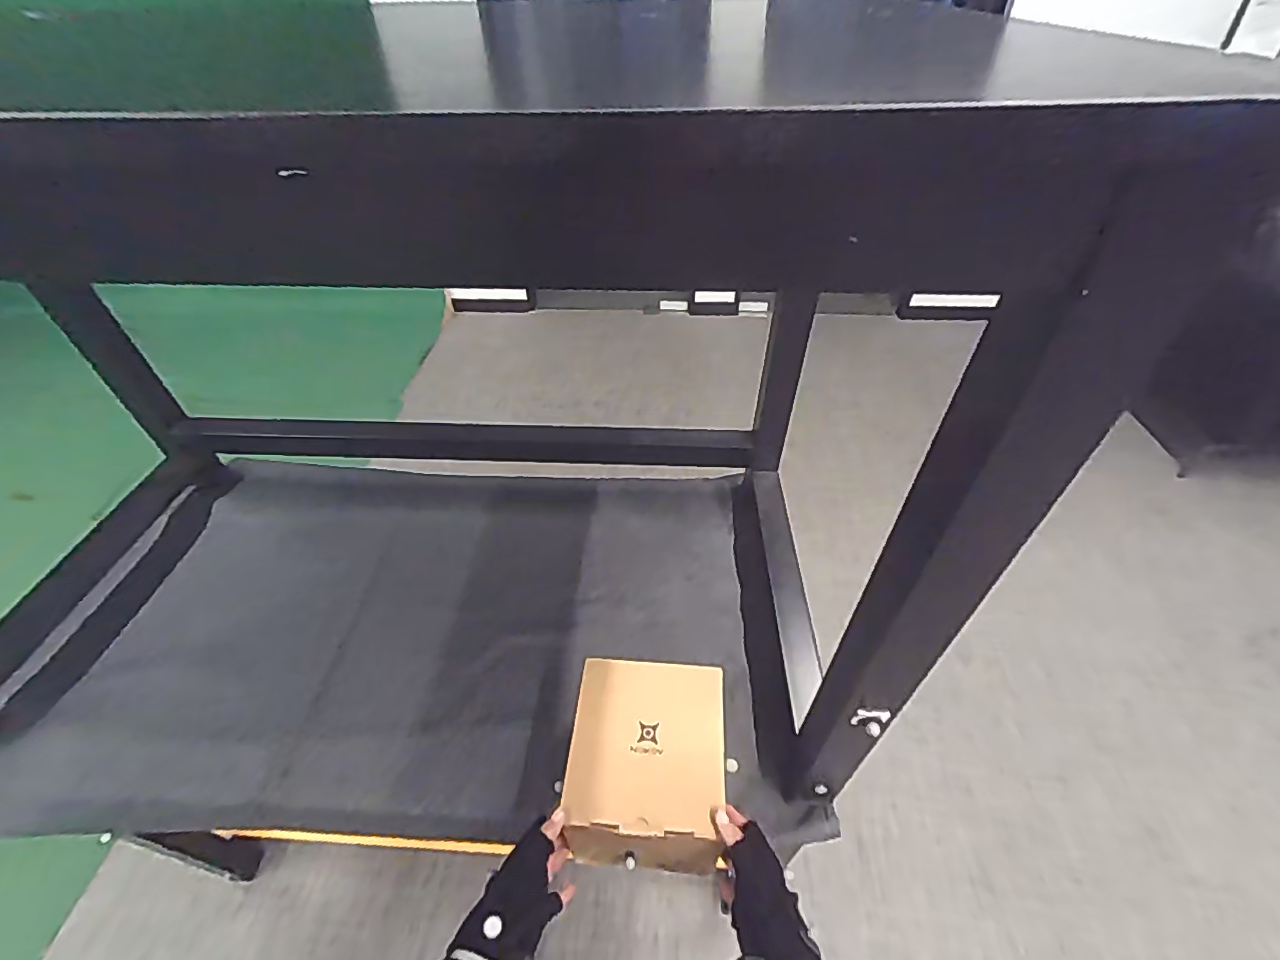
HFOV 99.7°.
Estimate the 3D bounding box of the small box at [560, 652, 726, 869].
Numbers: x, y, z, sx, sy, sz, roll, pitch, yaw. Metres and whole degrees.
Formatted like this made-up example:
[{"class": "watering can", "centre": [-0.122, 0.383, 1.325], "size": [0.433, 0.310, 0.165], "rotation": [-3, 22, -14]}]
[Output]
[{"class": "small box", "centre": [0.011, 0.328, 0.637], "size": [0.168, 0.176, 0.179], "rotation": [2, 44, 5]}]
